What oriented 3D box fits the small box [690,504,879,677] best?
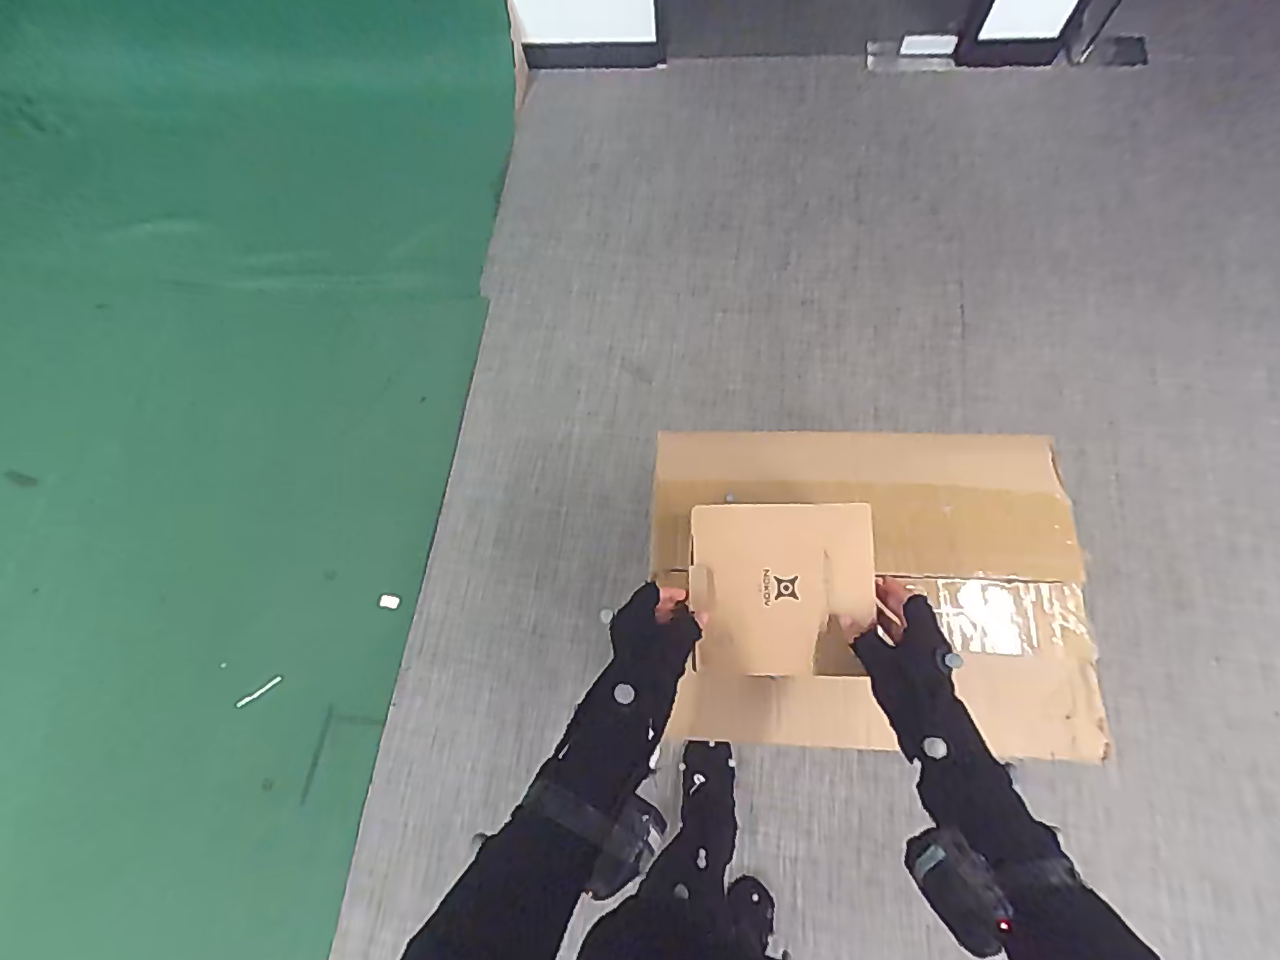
[{"bbox_3d":[0.145,0.114,0.604,0.179,0.176,0.168,-1,85,4],"label":"small box"}]
